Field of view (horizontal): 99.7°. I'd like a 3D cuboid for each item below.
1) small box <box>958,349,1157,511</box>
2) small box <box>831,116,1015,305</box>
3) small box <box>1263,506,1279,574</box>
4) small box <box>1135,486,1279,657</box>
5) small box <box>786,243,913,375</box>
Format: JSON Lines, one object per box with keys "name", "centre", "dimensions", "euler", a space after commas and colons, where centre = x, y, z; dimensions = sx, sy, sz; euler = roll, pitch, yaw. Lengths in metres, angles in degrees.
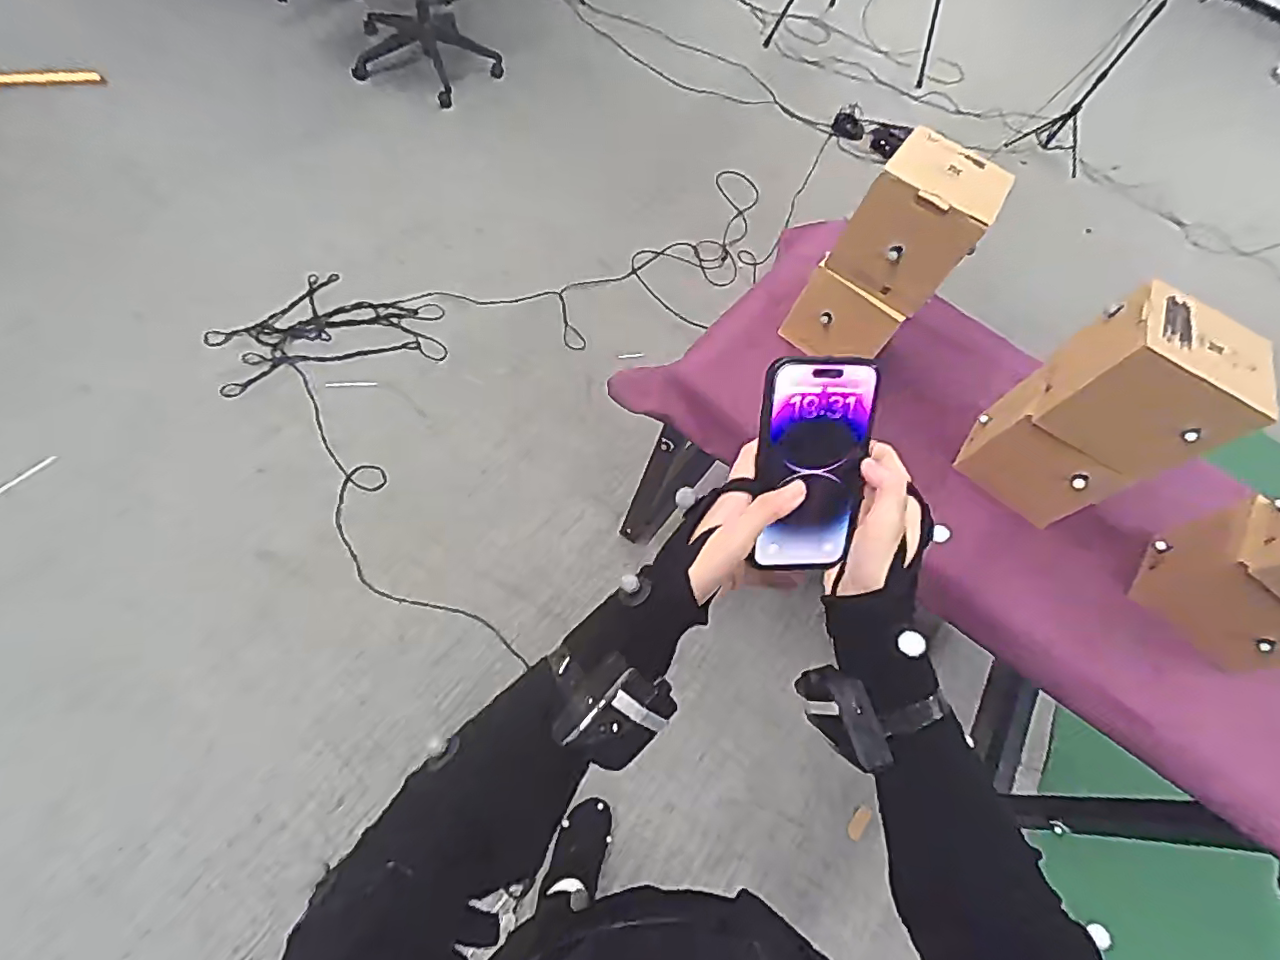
{"name": "small box", "centre": [0.675, -0.071, 0.887], "dimensions": [0.179, 0.176, 0.168], "euler": [38, 61, 10]}
{"name": "small box", "centre": [0.421, -0.406, 0.829], "dimensions": [0.168, 0.176, 0.179], "euler": [35, 61, 7]}
{"name": "small box", "centre": [0.956, 0.084, 0.673], "dimensions": [0.179, 0.176, 0.168], "euler": [44, 62, 12]}
{"name": "small box", "centre": [0.929, 0.147, 0.822], "dimensions": [0.179, 0.176, 0.168], "euler": [44, 62, 14]}
{"name": "small box", "centre": [0.387, -0.323, 0.967], "dimensions": [0.168, 0.176, 0.179], "euler": [39, 61, 10]}
